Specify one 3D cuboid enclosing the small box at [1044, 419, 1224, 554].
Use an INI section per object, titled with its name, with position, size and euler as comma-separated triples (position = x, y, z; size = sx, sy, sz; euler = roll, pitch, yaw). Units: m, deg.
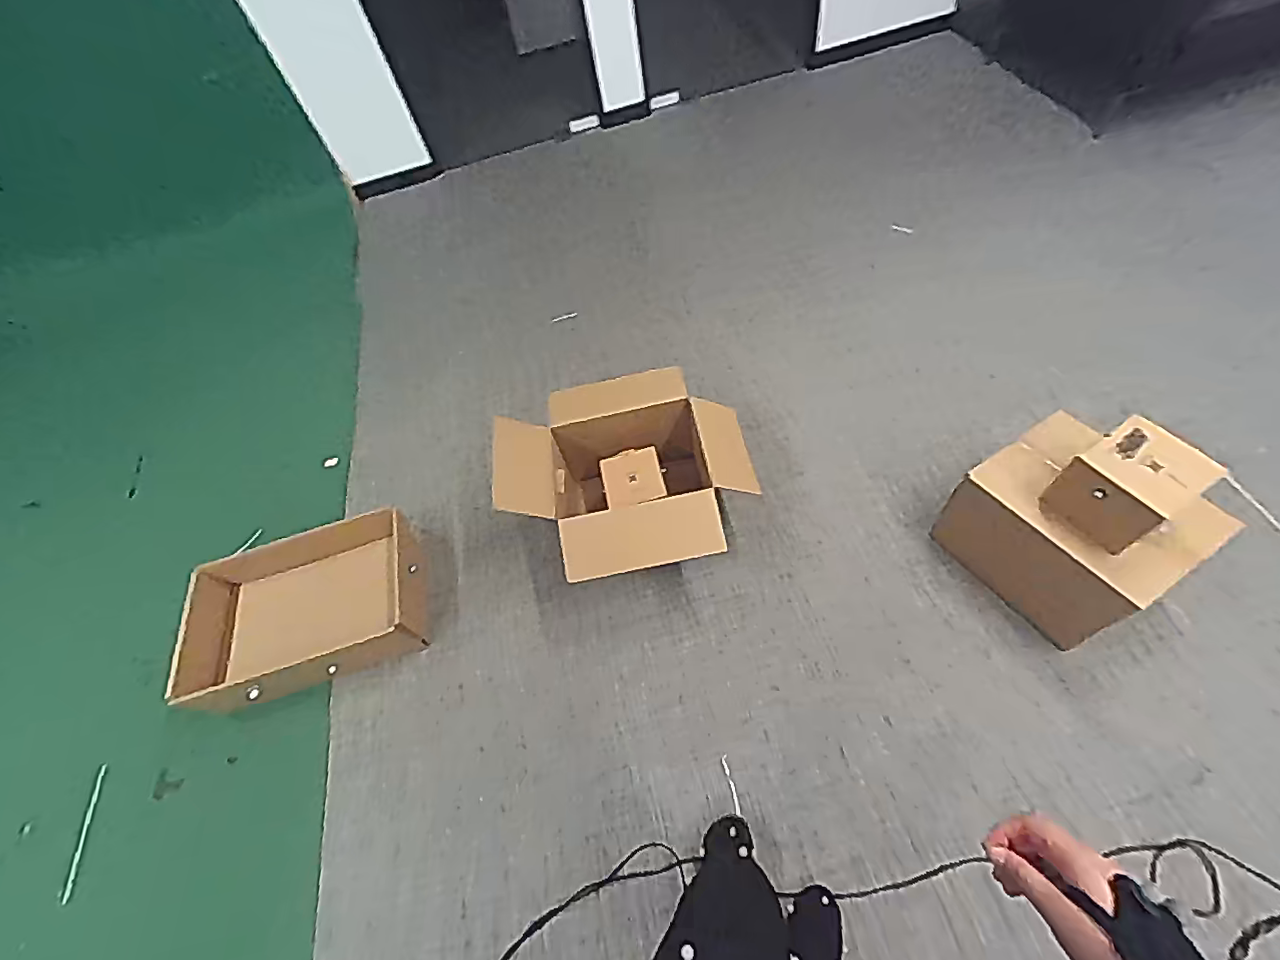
[small box]
position = 0.977, 0.017, 1.091
size = 0.168, 0.176, 0.179
euler = -32, 57, -9
